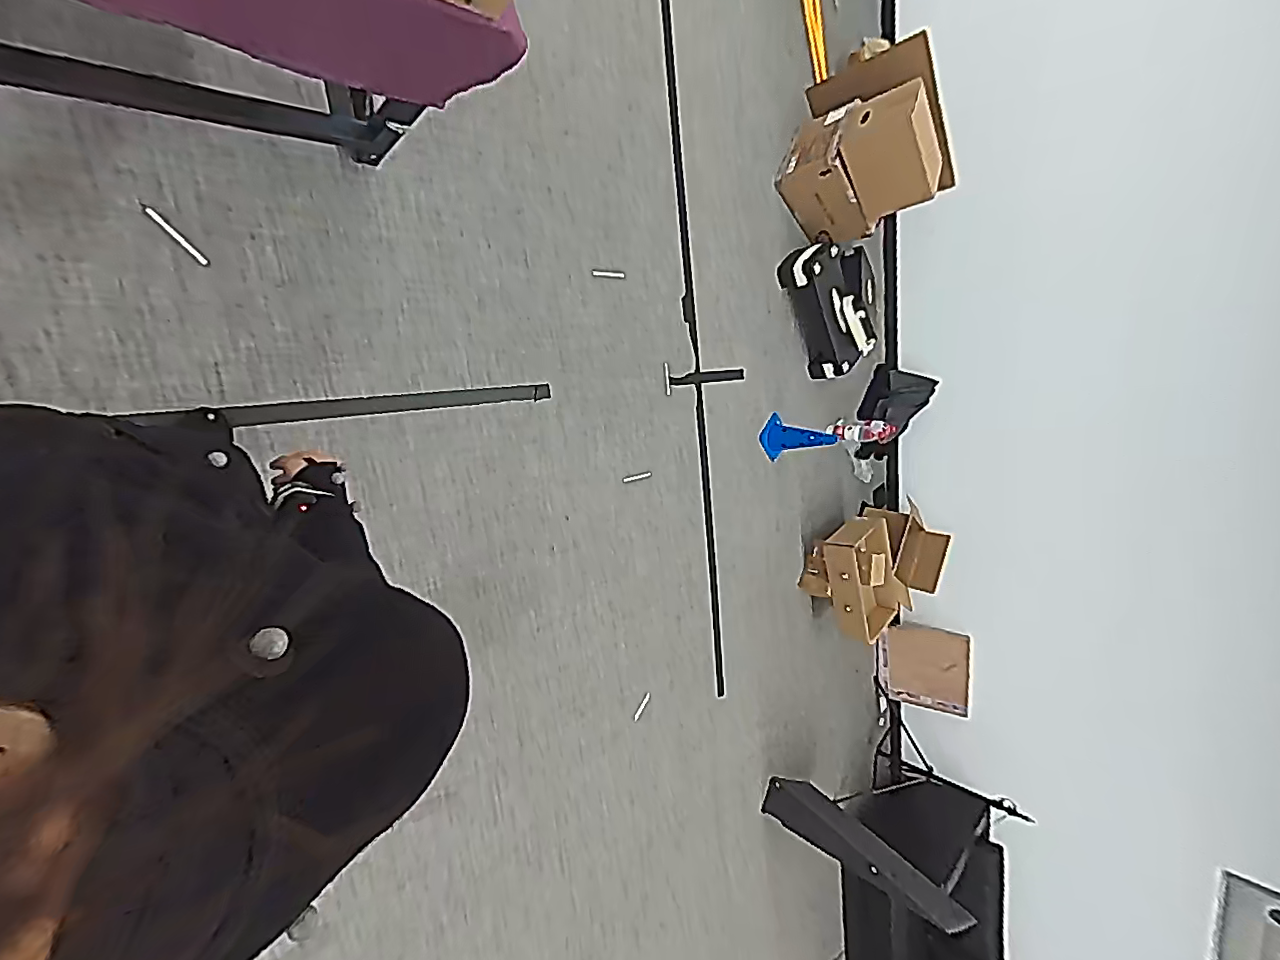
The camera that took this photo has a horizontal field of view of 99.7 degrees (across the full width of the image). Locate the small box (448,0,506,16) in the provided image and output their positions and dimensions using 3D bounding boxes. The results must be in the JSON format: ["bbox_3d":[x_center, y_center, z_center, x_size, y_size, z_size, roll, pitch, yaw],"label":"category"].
[{"bbox_3d":[-0.269,-0.865,0.811,0.168,0.176,0.179,-14,103,-39],"label":"small box"}]
